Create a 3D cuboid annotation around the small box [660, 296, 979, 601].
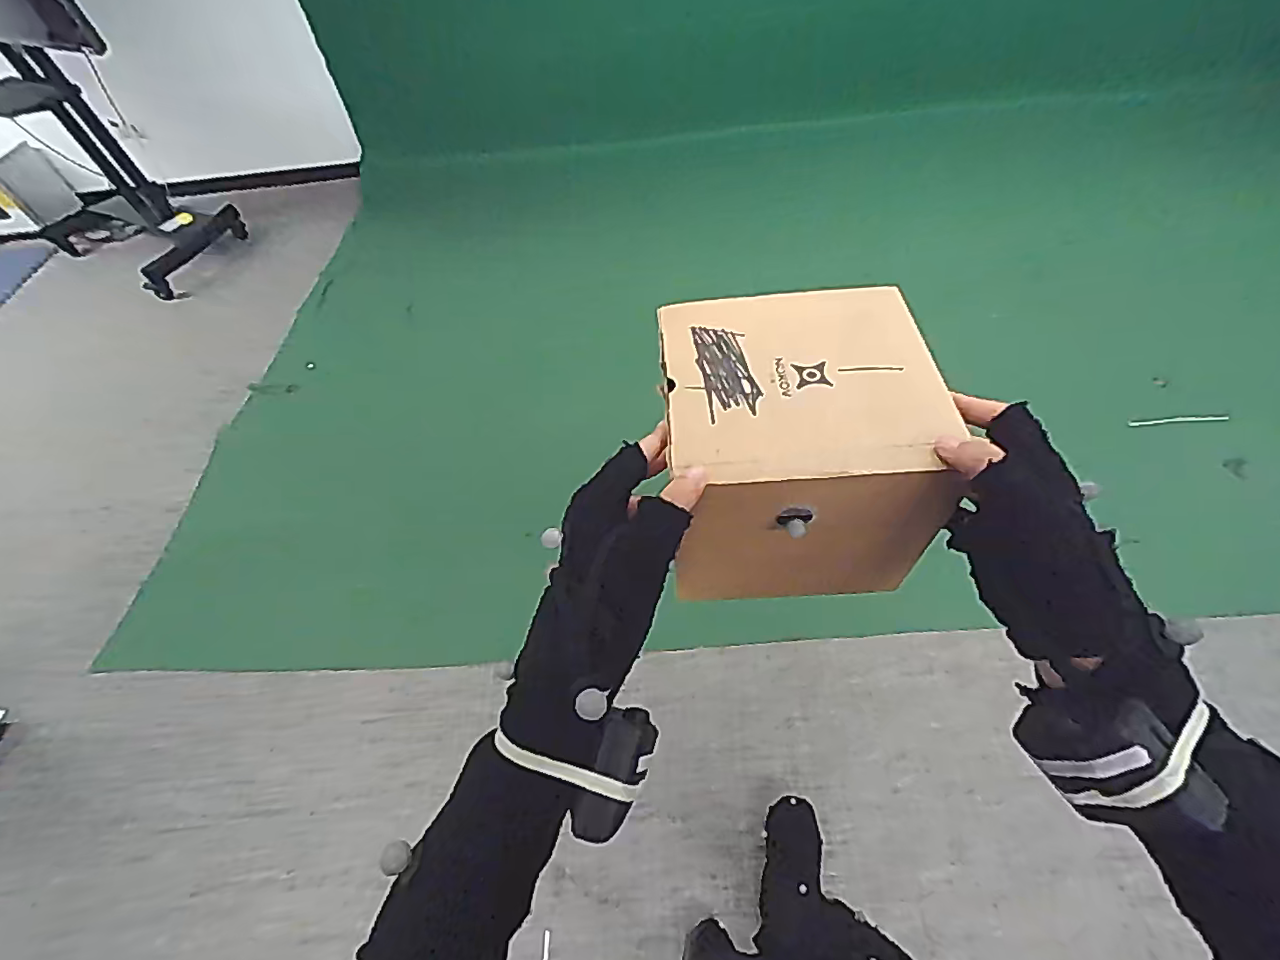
[{"bbox_3d":[0.110,-0.016,0.416,0.179,0.176,0.168,-4,54,3],"label":"small box"}]
